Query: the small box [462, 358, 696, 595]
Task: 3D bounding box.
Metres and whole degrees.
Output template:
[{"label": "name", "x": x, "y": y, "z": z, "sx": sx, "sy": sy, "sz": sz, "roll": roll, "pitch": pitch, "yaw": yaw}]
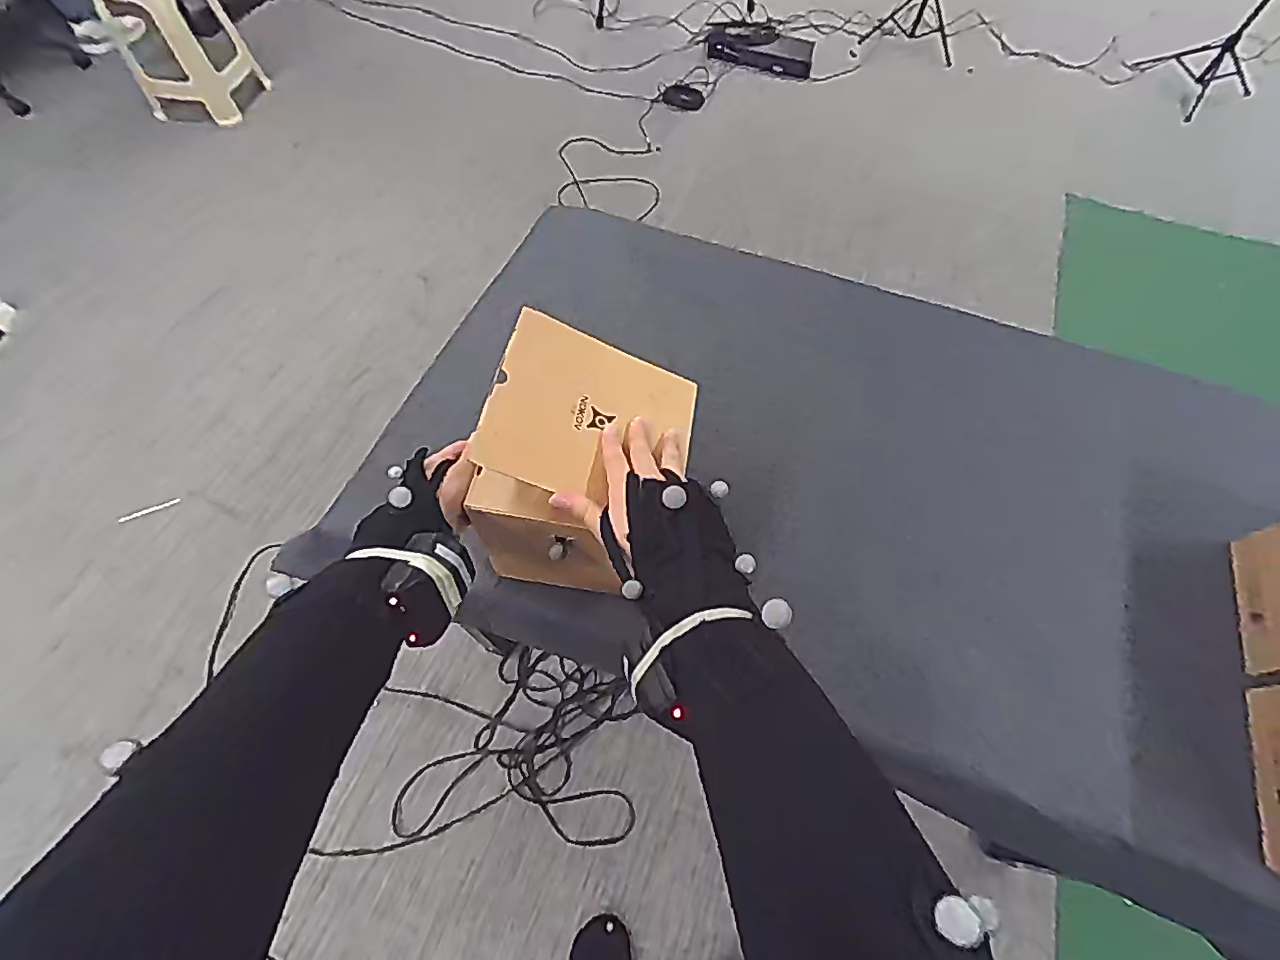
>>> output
[{"label": "small box", "x": -0.049, "y": 0.006, "z": 0.541, "sx": 0.179, "sy": 0.176, "sz": 0.168, "roll": 9, "pitch": 61, "yaw": 3}]
